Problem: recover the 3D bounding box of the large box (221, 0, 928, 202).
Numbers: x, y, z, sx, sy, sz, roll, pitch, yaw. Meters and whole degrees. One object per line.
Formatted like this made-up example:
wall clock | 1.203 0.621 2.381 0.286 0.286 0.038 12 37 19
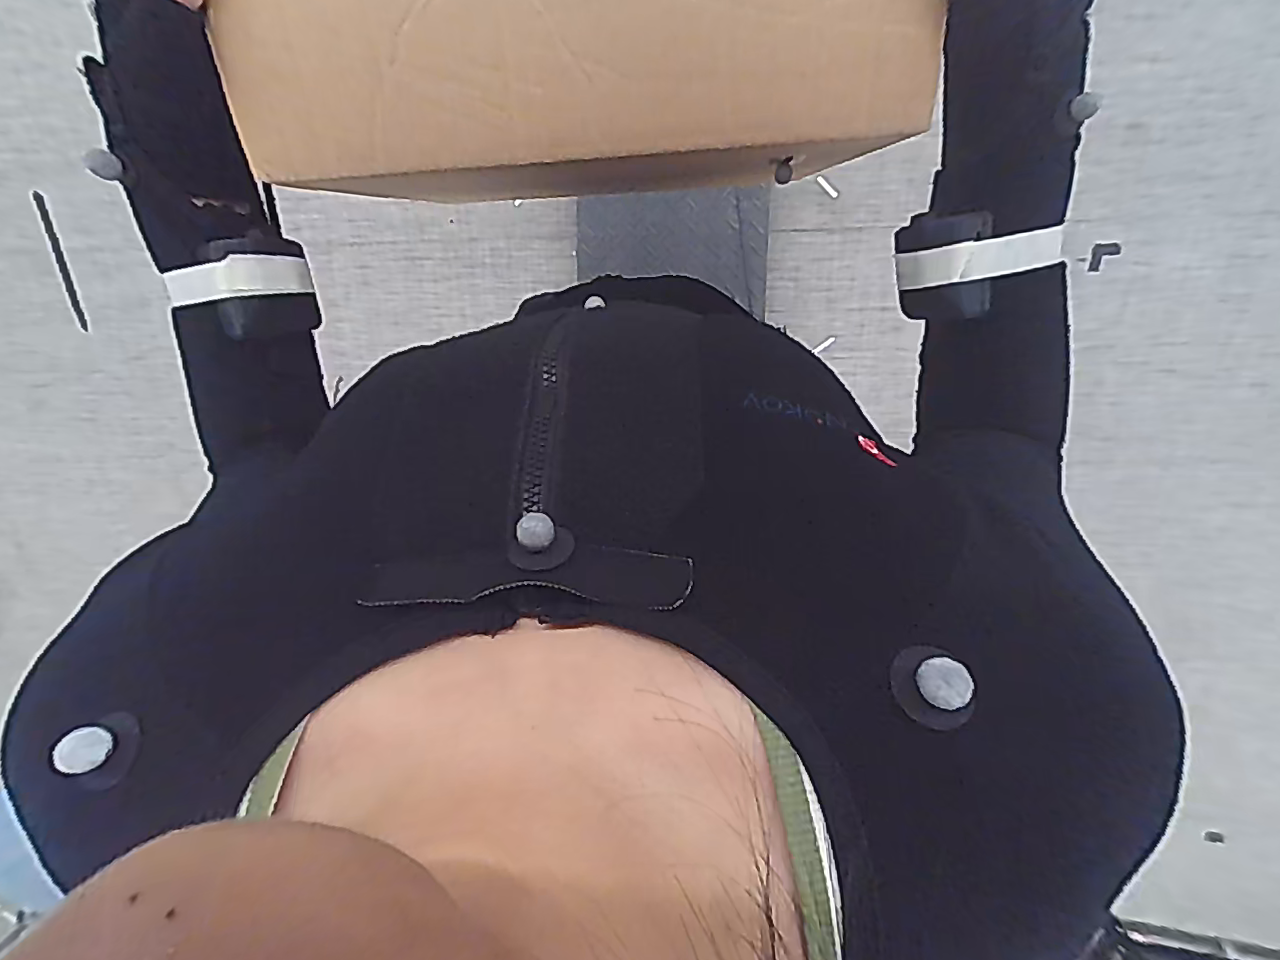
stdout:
large box | -0.038 -0.400 0.407 0.408 0.320 0.320 -3 114 3
